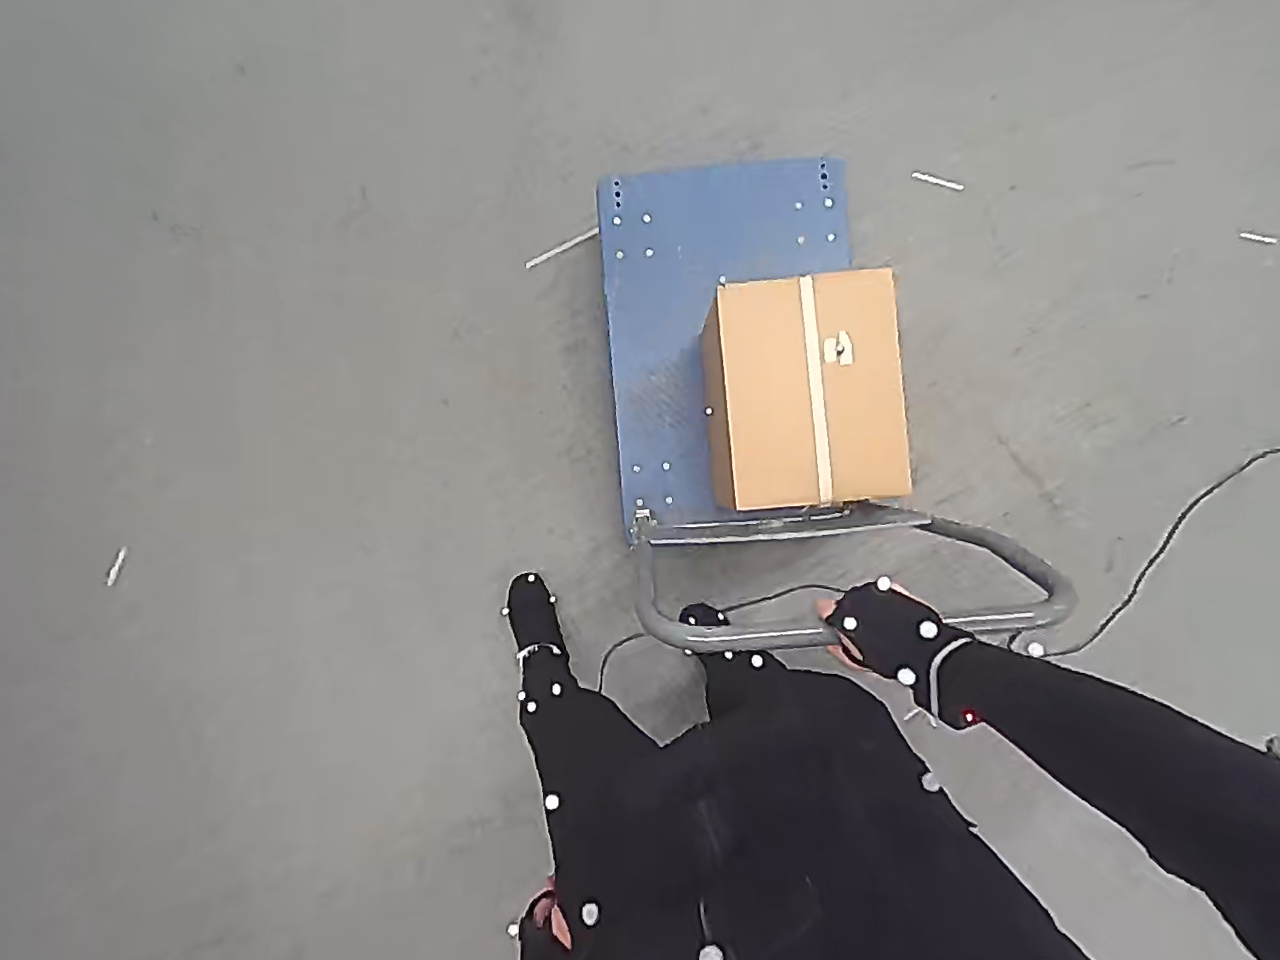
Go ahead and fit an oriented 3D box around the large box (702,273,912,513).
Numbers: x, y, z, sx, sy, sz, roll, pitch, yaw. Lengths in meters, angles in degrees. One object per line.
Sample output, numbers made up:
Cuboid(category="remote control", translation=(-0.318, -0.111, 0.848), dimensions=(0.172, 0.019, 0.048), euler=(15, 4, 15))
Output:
Cuboid(category="large box", translation=(0.312, -0.153, 1.113), dimensions=(0.320, 0.320, 0.408), euler=(-6, 89, 0))
